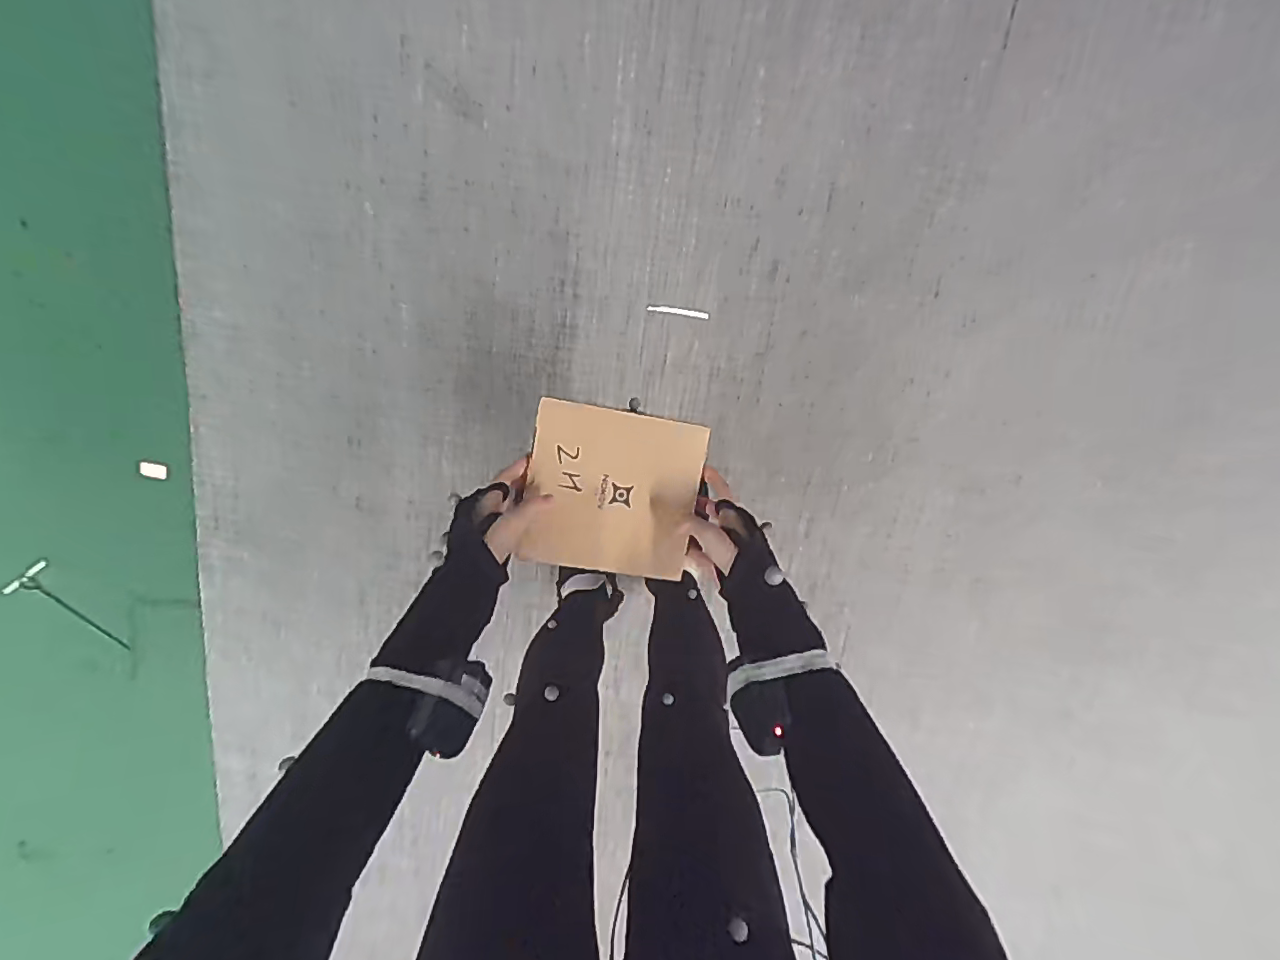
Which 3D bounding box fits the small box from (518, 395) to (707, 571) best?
[{"bbox_3d":[-0.038,-0.005,0.644,0.179,0.176,0.168,10,97,-8],"label":"small box"}]
